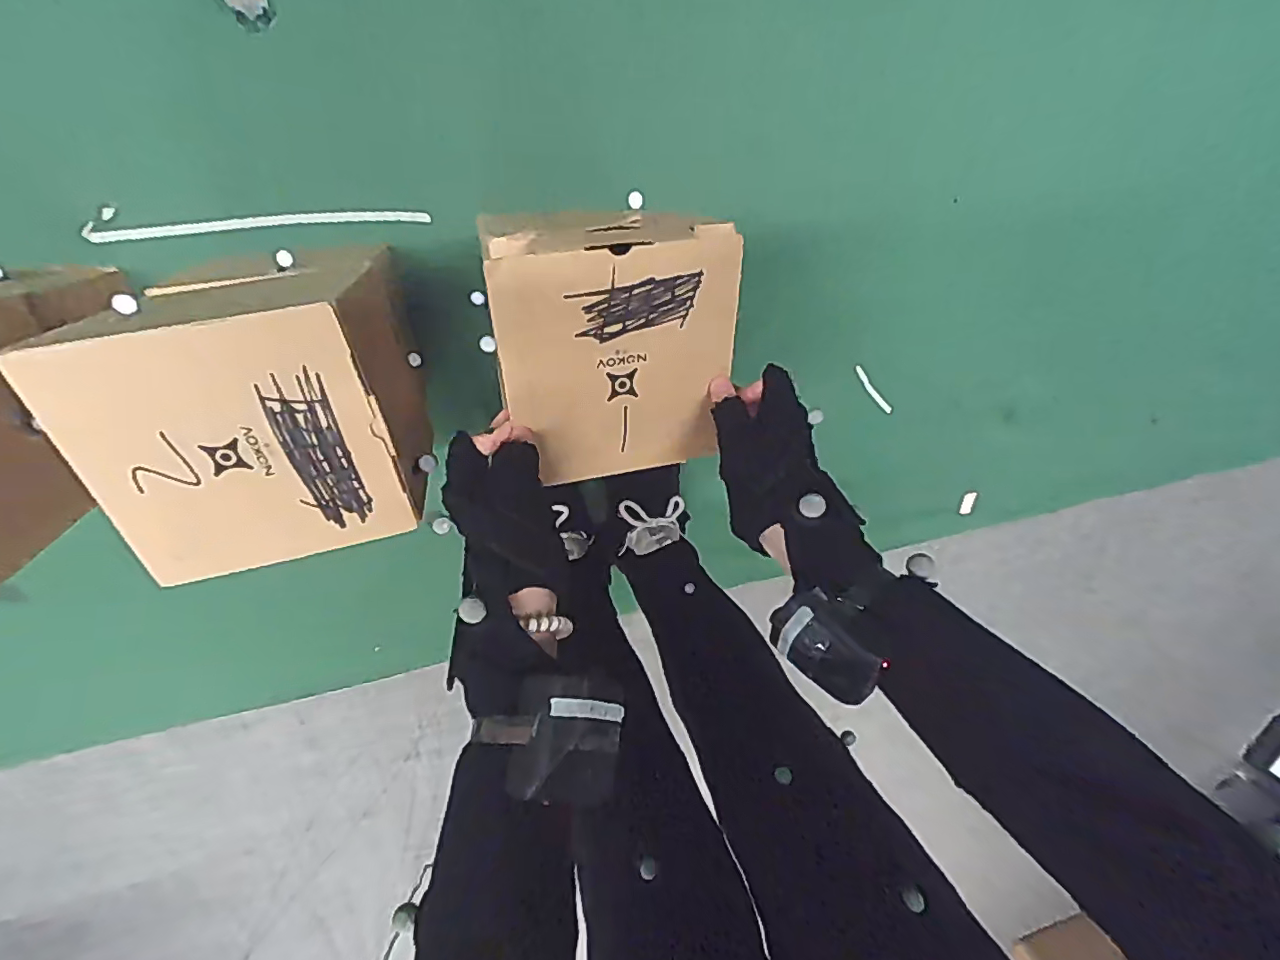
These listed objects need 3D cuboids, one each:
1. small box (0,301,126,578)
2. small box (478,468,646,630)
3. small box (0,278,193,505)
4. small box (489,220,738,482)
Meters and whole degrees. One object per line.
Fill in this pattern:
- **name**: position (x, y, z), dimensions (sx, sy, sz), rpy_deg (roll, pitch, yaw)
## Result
- **small box**: position (-0.520, -0.021, 0.362), dimensions (0.179, 0.176, 0.168), rpy_deg (-7, 119, -13)
- **small box**: position (-0.107, 0.073, 0.750), dimensions (0.179, 0.176, 0.168), rpy_deg (26, 118, -8)
- **small box**: position (-0.571, -0.085, 0.506), dimensions (0.168, 0.176, 0.179), rpy_deg (-6, 118, -13)
- **small box**: position (-0.032, -0.121, 0.458), dimensions (0.168, 0.176, 0.179), rpy_deg (-8, 120, -13)
